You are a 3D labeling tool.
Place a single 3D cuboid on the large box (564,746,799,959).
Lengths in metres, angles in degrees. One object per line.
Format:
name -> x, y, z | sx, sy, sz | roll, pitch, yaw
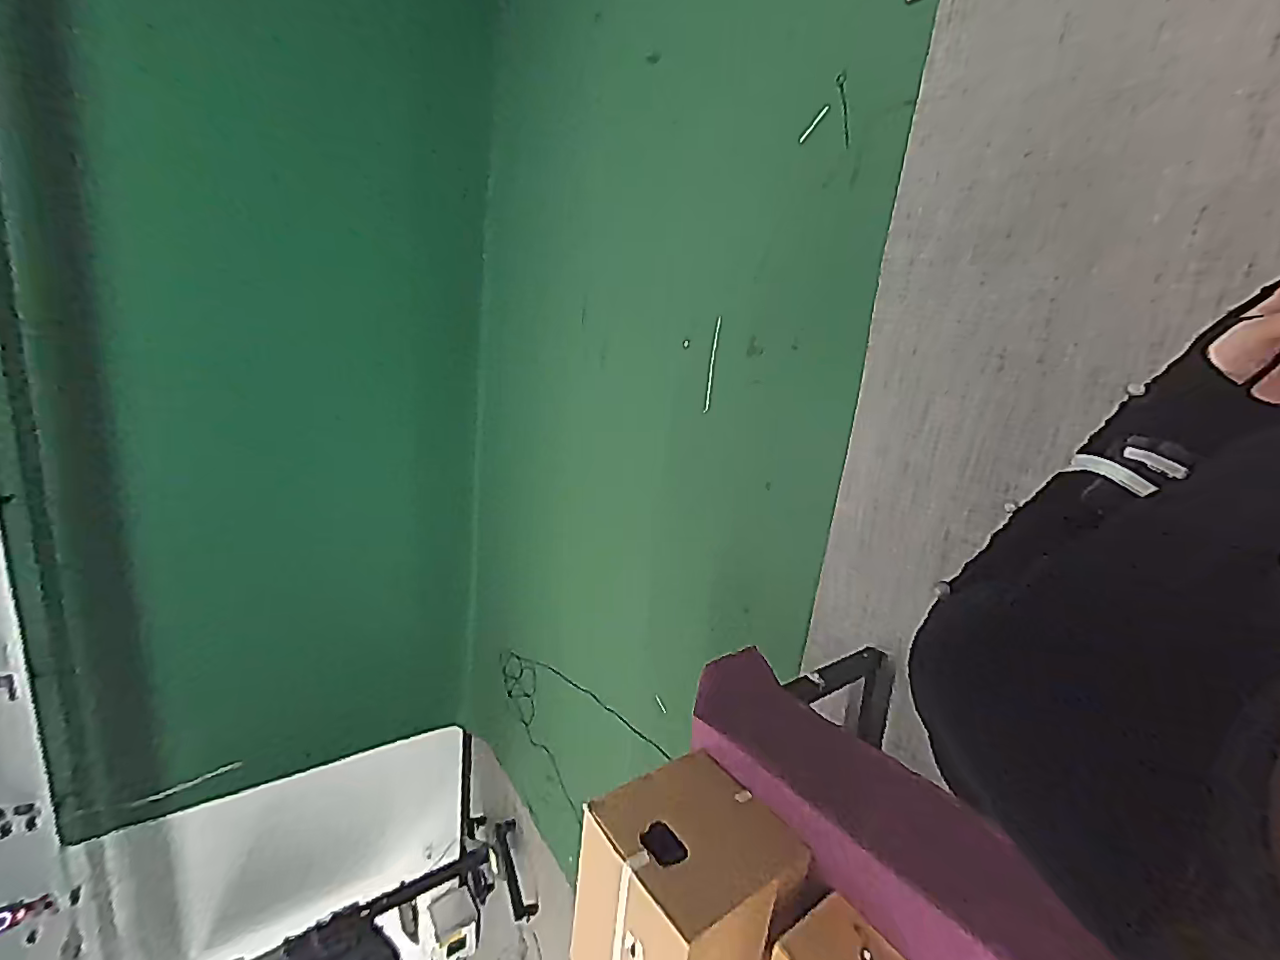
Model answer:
large box -> 0.072, 0.836, 1.073 | 0.320, 0.320, 0.408 | 23, 110, 49
